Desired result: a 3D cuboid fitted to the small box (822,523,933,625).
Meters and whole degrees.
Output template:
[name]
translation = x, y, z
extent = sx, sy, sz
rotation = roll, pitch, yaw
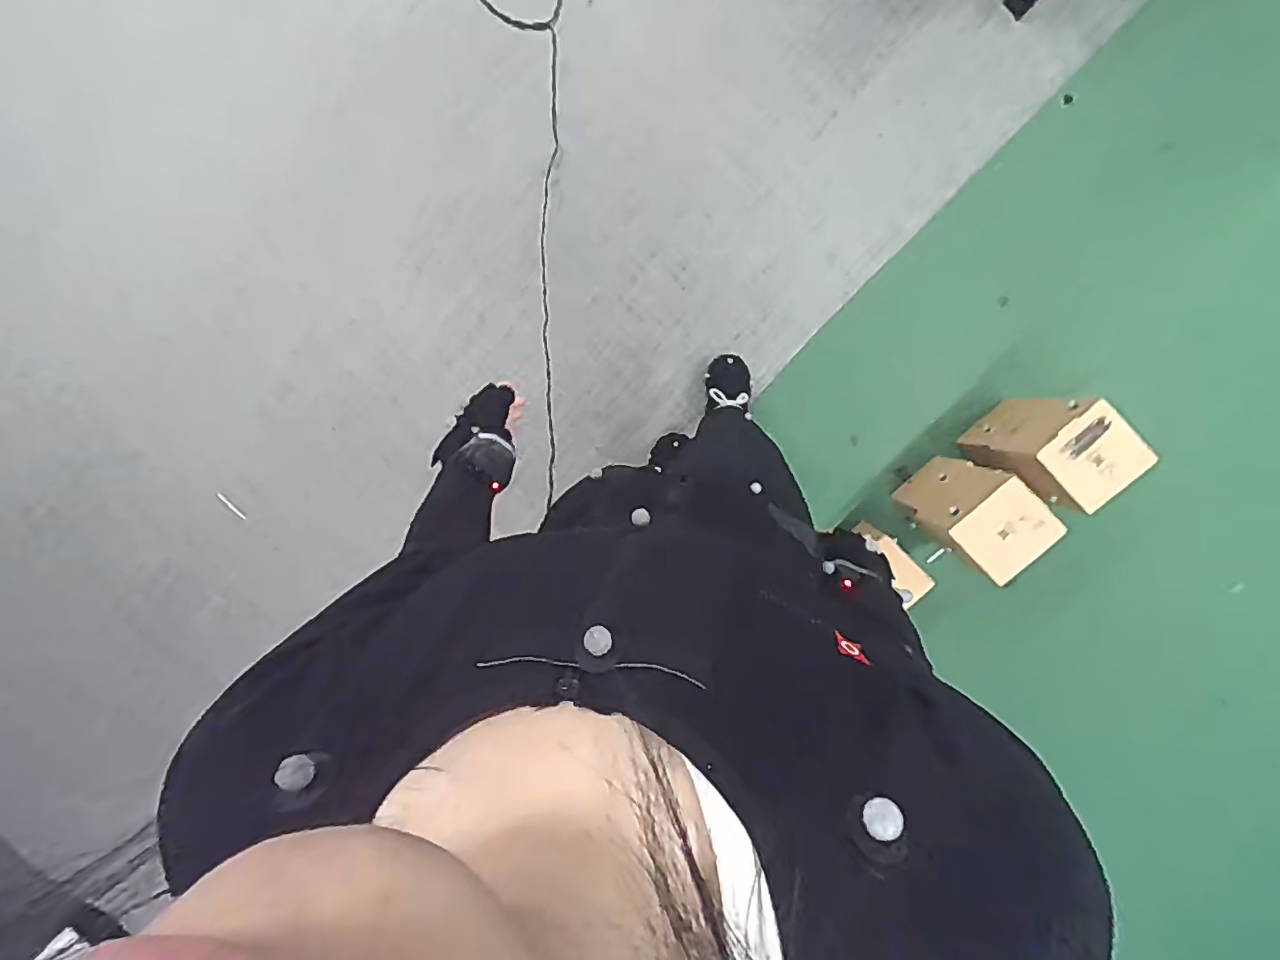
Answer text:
[small box]
translation = 0.604, 0.234, 1.399
extent = 0.179, 0.176, 0.168
rotation = 44, 99, -1
